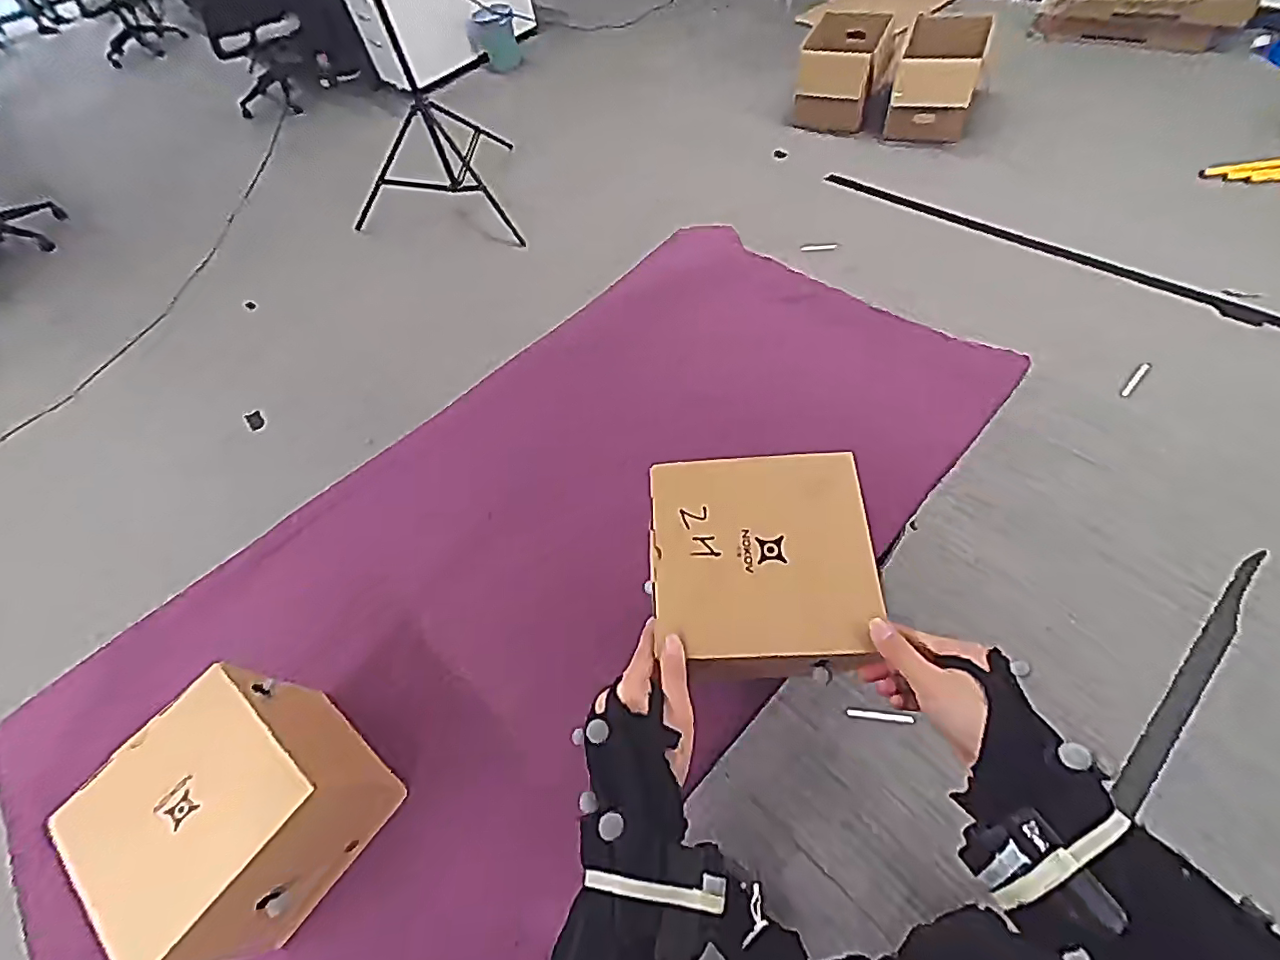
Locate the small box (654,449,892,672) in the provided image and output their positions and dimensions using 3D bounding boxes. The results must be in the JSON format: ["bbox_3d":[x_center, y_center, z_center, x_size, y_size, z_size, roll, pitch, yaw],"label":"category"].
[{"bbox_3d":[0.106,0.084,0.507,0.179,0.176,0.168,-3,64,6],"label":"small box"}]

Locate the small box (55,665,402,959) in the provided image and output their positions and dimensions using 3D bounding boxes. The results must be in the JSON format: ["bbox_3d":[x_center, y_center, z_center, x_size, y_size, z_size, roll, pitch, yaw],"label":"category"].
[{"bbox_3d":[-0.371,0.311,0.520,0.179,0.176,0.168,30,67,24],"label":"small box"}]
